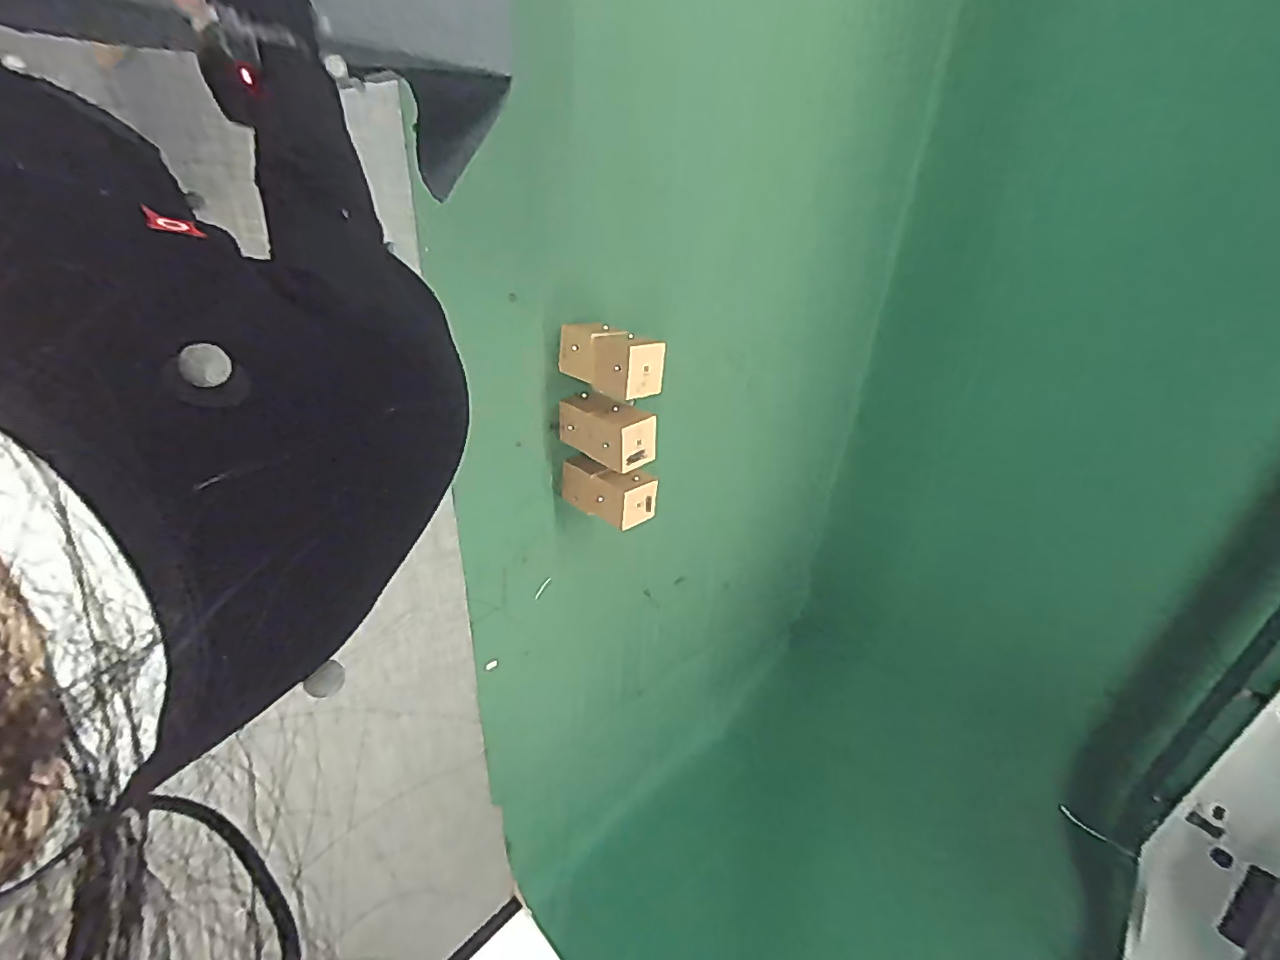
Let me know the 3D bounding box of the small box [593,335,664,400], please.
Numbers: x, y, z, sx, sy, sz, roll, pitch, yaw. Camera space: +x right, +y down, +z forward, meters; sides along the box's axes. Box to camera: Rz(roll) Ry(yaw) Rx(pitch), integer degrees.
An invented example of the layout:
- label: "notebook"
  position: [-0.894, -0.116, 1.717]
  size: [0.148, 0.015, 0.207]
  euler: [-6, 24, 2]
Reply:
- label: "small box"
  position: [-0.041, -0.380, 1.793]
  size: [0.168, 0.176, 0.179]
  euler: [-19, 125, -42]

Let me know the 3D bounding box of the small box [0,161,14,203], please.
- label: "small box"
  position: [-1.113, -0.451, 0.798]
  size: [0.179, 0.176, 0.168]
  euler: [29, 100, -36]

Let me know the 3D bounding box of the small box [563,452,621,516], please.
- label: "small box"
  position: [-0.190, 0.011, 2.125]
  size: [0.168, 0.176, 0.179]
  euler: [-20, 126, -42]

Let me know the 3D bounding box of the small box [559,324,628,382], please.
- label: "small box"
  position: [-0.165, -0.445, 1.882]
  size: [0.179, 0.176, 0.168]
  euler: [-18, 124, -43]

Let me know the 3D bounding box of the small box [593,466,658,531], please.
- label: "small box"
  position: [-0.058, 0.063, 2.043]
  size: [0.179, 0.176, 0.168]
  euler: [-22, 127, -41]
